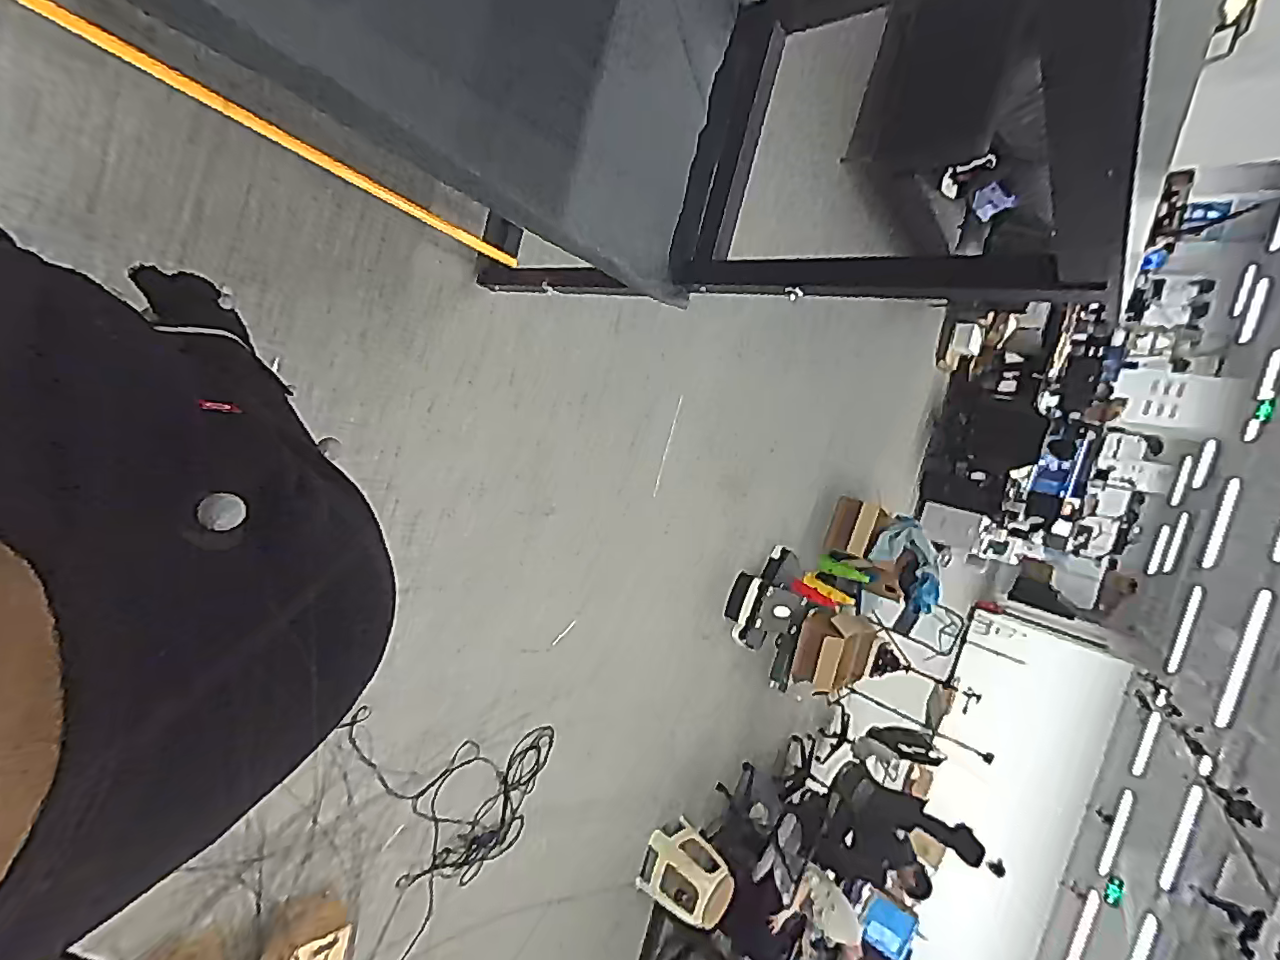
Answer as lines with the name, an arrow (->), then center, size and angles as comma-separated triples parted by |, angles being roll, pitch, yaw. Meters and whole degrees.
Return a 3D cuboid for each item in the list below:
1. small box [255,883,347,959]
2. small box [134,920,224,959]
small box -> -1.011, 1.349, 1.608 | 0.168, 0.176, 0.179 | 18, 92, -51
small box -> -1.189, 1.299, 1.384 | 0.168, 0.176, 0.179 | 10, 96, -51
